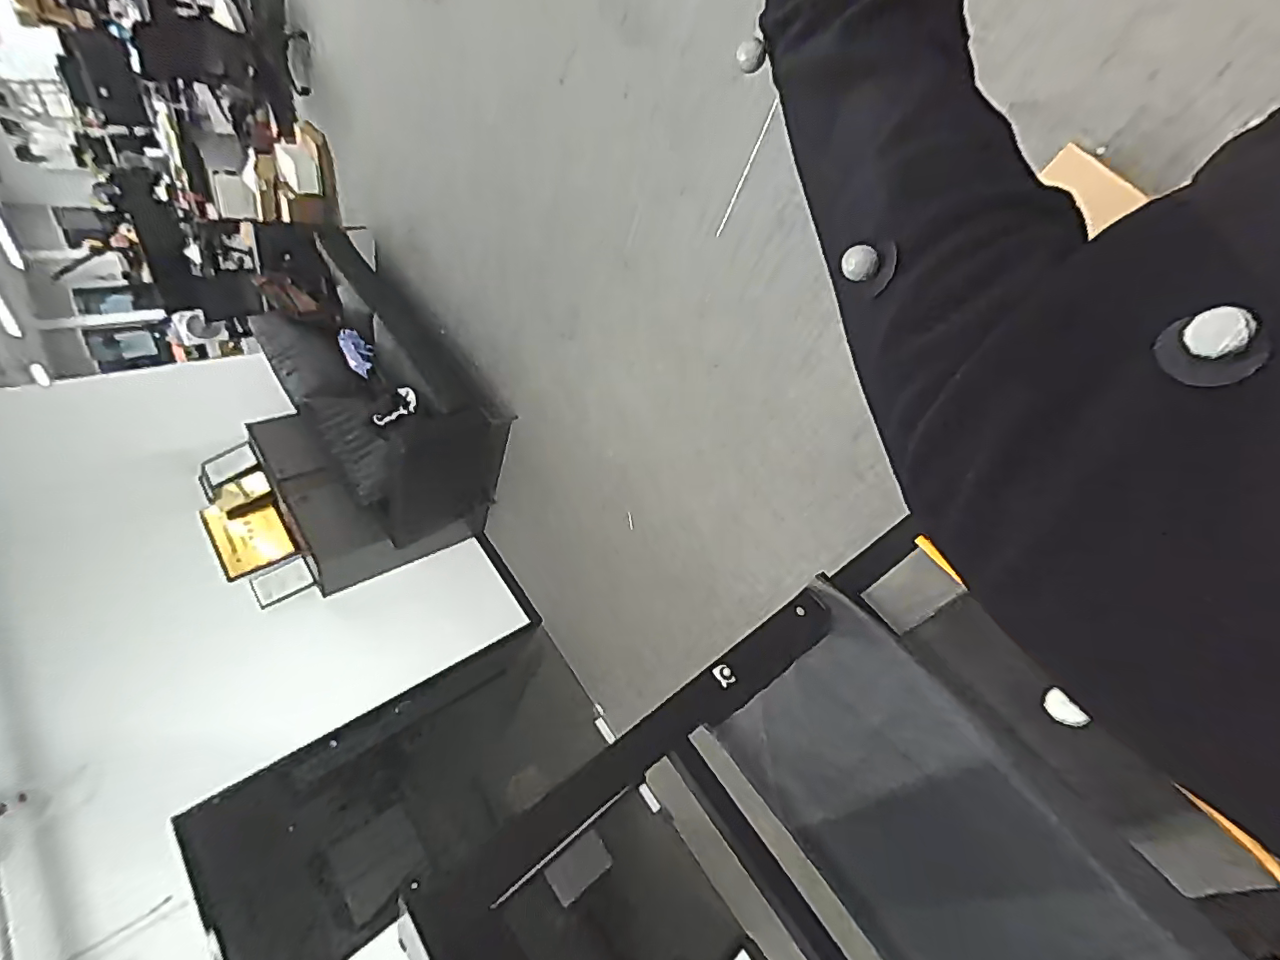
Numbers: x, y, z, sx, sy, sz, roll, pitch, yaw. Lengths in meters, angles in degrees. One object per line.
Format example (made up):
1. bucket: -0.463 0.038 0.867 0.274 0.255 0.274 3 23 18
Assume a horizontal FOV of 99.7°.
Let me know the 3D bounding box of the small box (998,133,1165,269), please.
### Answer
1. small box: 0.851 -0.534 1.046 0.179 0.176 0.168 53 141 17
